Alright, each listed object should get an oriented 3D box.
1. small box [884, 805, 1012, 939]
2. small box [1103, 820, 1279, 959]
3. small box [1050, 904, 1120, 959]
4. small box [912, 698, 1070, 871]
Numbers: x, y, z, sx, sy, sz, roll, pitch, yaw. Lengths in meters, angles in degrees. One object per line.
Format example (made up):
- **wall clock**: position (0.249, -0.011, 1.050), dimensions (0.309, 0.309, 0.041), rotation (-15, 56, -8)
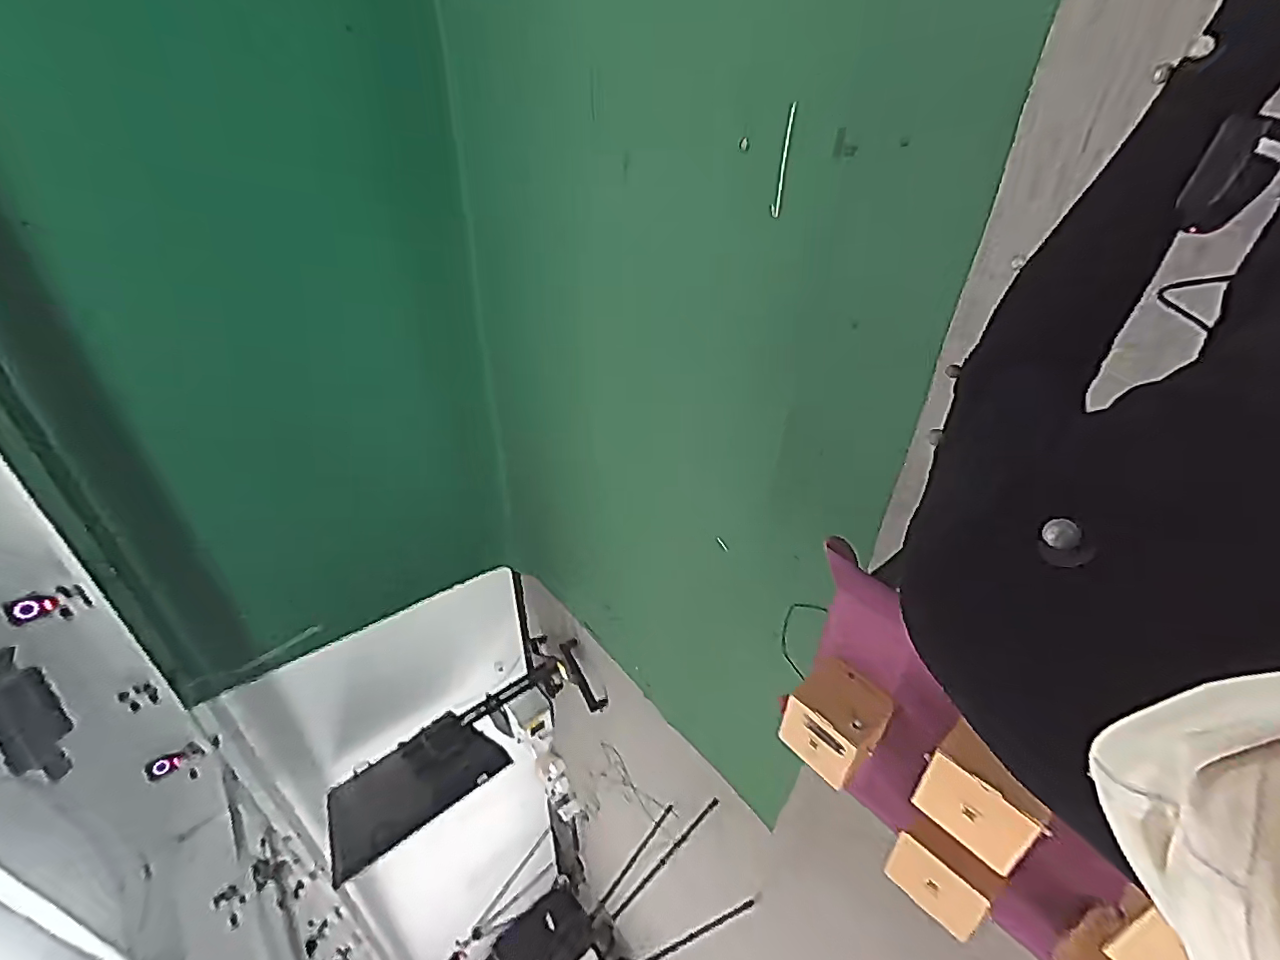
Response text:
- **small box**: position (0.636, 0.767, 1.108), dimensions (0.168, 0.176, 0.179), rotation (30, 131, 40)
- **small box**: position (0.820, 0.644, 0.773), dimensions (0.168, 0.176, 0.179), rotation (31, 134, 40)
- **small box**: position (0.819, 0.886, 0.925), dimensions (0.168, 0.176, 0.179), rotation (32, 134, 40)
- **small box**: position (0.630, 0.539, 0.975), dimensions (0.168, 0.176, 0.179), rotation (32, 134, 40)
